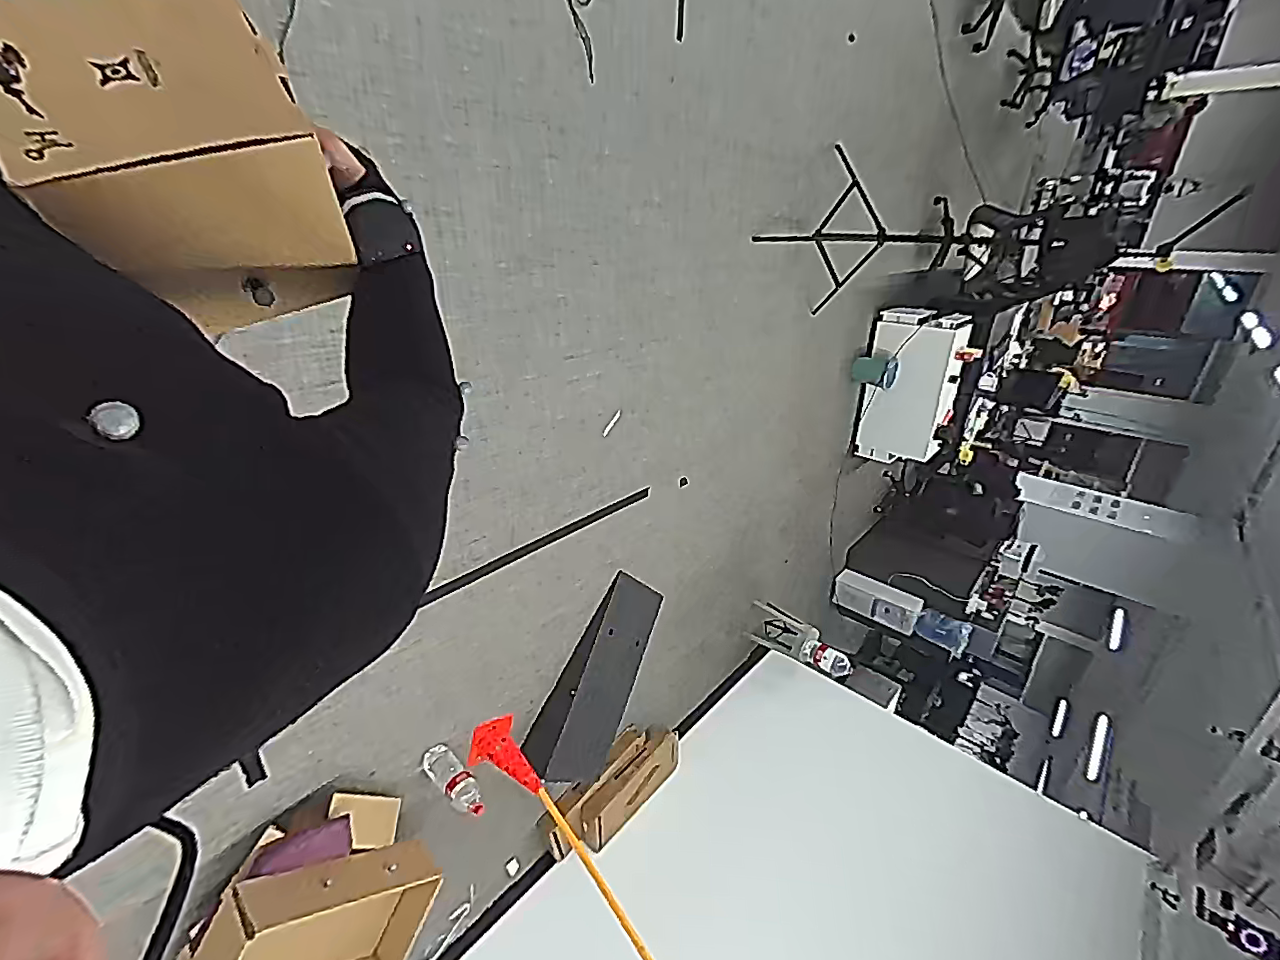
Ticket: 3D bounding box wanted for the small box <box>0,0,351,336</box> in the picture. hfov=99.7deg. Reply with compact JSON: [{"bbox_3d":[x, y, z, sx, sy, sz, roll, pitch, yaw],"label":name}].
[{"bbox_3d":[-0.372,-0.255,0.461,0.179,0.168,0.176,-28,167,-22],"label":"small box"}]
